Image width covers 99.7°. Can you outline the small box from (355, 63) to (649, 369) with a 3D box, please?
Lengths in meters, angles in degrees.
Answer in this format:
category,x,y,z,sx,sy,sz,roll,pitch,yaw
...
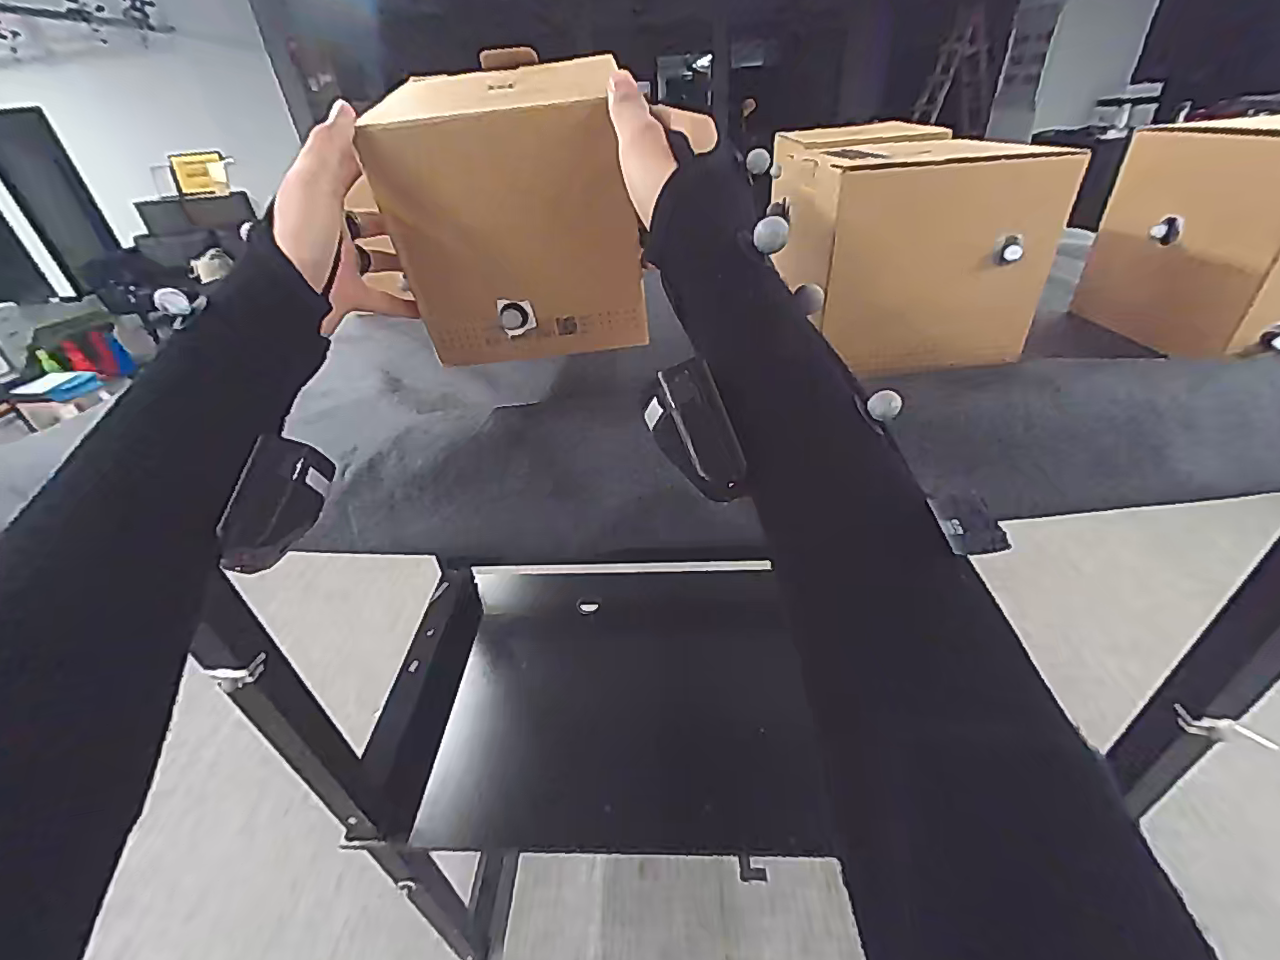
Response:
category,x,y,z,sx,sy,sz,roll,pitch,yaw
small box,-0.086,-0.209,0.428,0.168,0.176,0.179,-7,44,0

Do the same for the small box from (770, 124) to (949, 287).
category,x,y,z,sx,sy,sz,roll,pitch,yaw
small box,0.273,-0.362,0.719,0.168,0.176,0.179,-3,35,3

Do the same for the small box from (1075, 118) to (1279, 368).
category,x,y,z,sx,sy,sz,roll,pitch,yaw
small box,0.531,-0.200,0.457,0.168,0.176,0.179,-4,34,1

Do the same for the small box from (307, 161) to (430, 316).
category,x,y,z,sx,sy,sz,roll,pitch,yaw
small box,-0.303,-0.334,0.742,0.179,0.176,0.168,-2,35,1
